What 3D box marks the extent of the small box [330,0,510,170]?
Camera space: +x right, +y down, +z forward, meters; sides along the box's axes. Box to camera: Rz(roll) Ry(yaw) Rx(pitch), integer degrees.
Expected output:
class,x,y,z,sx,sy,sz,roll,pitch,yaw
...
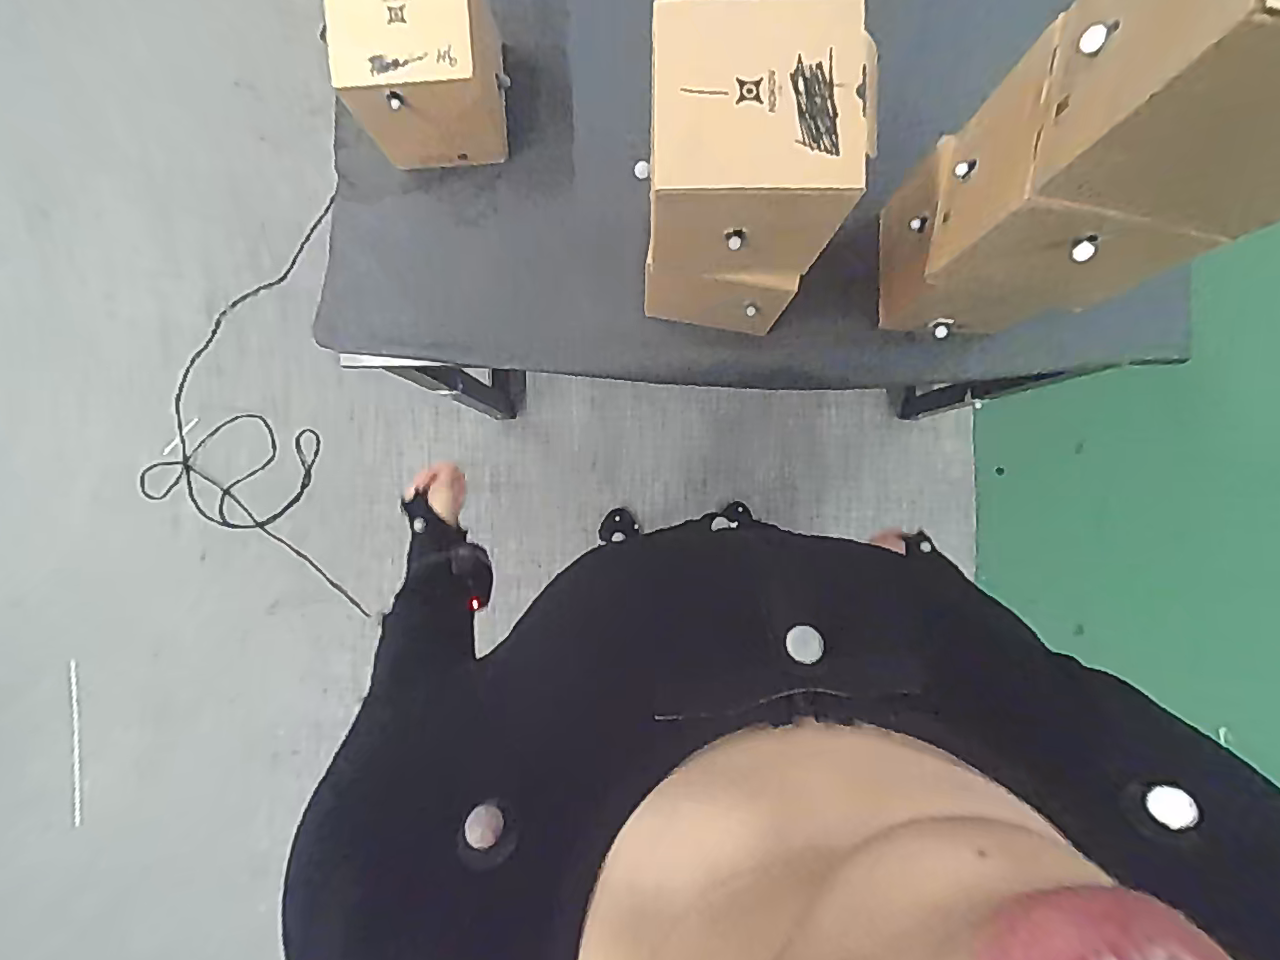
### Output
class,x,y,z,sx,sy,sz,roll,pitch,yaw
small box,-0.272,-0.538,0.700,0.168,0.176,0.179,-3,90,1

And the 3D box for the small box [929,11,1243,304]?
class,x,y,z,sx,sy,sz,roll,pitch,yaw
small box,0.417,-0.285,0.519,0.179,0.176,0.168,12,88,3

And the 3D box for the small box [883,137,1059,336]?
class,x,y,z,sx,sy,sz,roll,pitch,yaw
small box,0.421,-0.294,0.681,0.168,0.176,0.179,1,88,2

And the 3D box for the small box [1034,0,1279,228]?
class,x,y,z,sx,sy,sz,roll,pitch,yaw
small box,0.415,-0.293,0.354,0.179,0.176,0.168,13,88,3

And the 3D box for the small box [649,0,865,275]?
class,x,y,z,sx,sy,sz,roll,pitch,yaw
small box,0.098,-0.312,0.524,0.179,0.176,0.168,1,88,2
